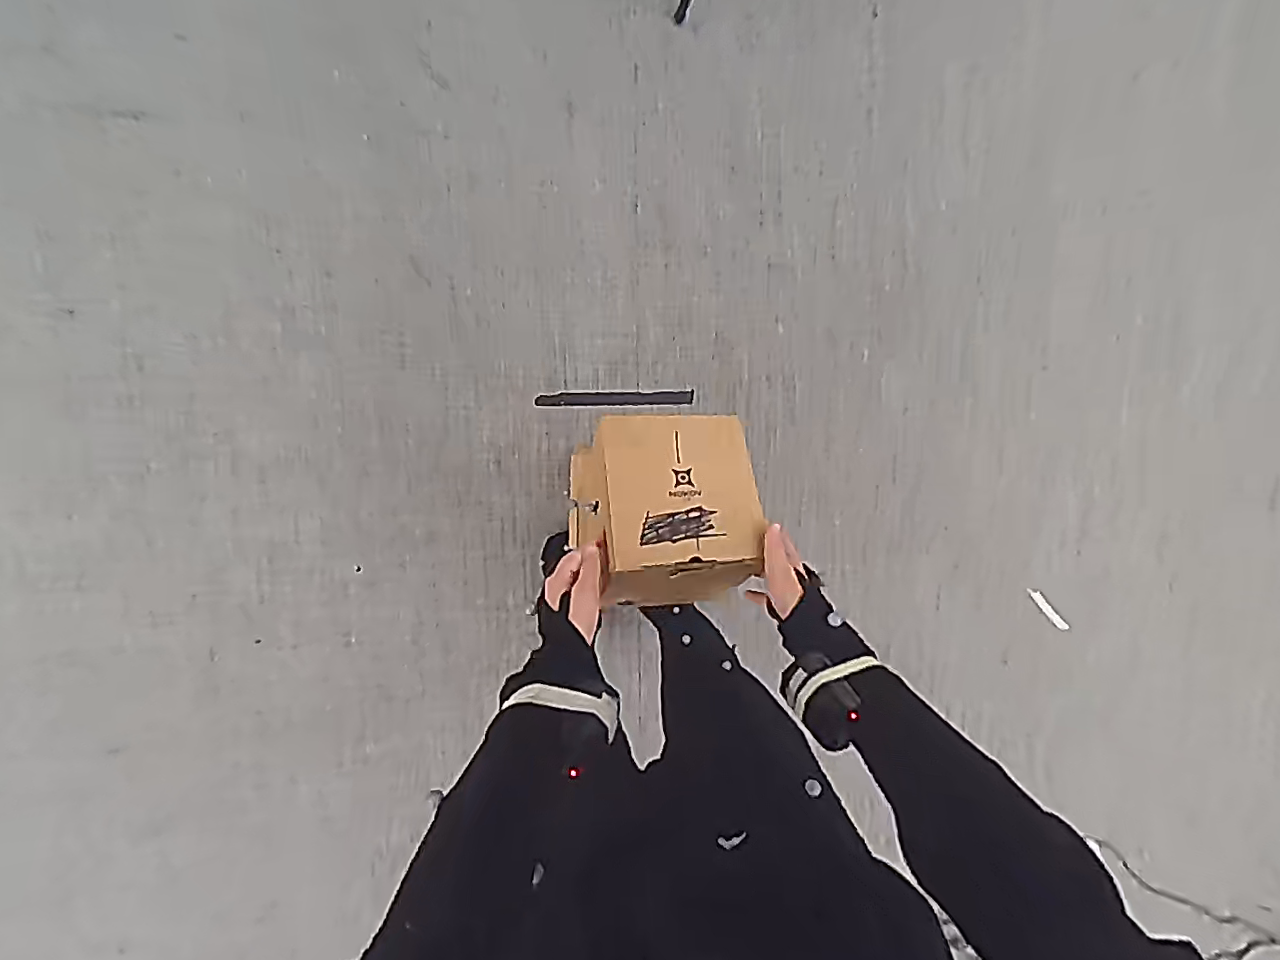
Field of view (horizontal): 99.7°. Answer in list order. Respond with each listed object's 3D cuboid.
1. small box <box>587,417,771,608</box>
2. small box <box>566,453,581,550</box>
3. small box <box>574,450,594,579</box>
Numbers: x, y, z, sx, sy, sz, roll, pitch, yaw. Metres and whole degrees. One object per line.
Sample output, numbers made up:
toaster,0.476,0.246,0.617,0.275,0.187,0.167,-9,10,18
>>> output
small box,0.031,0.046,0.632,0.168,0.176,0.179,0,61,-13
small box,-0.044,0.036,1.008,0.179,0.176,0.168,2,96,-6
small box,-0.017,0.049,0.847,0.168,0.176,0.179,1,96,-6
